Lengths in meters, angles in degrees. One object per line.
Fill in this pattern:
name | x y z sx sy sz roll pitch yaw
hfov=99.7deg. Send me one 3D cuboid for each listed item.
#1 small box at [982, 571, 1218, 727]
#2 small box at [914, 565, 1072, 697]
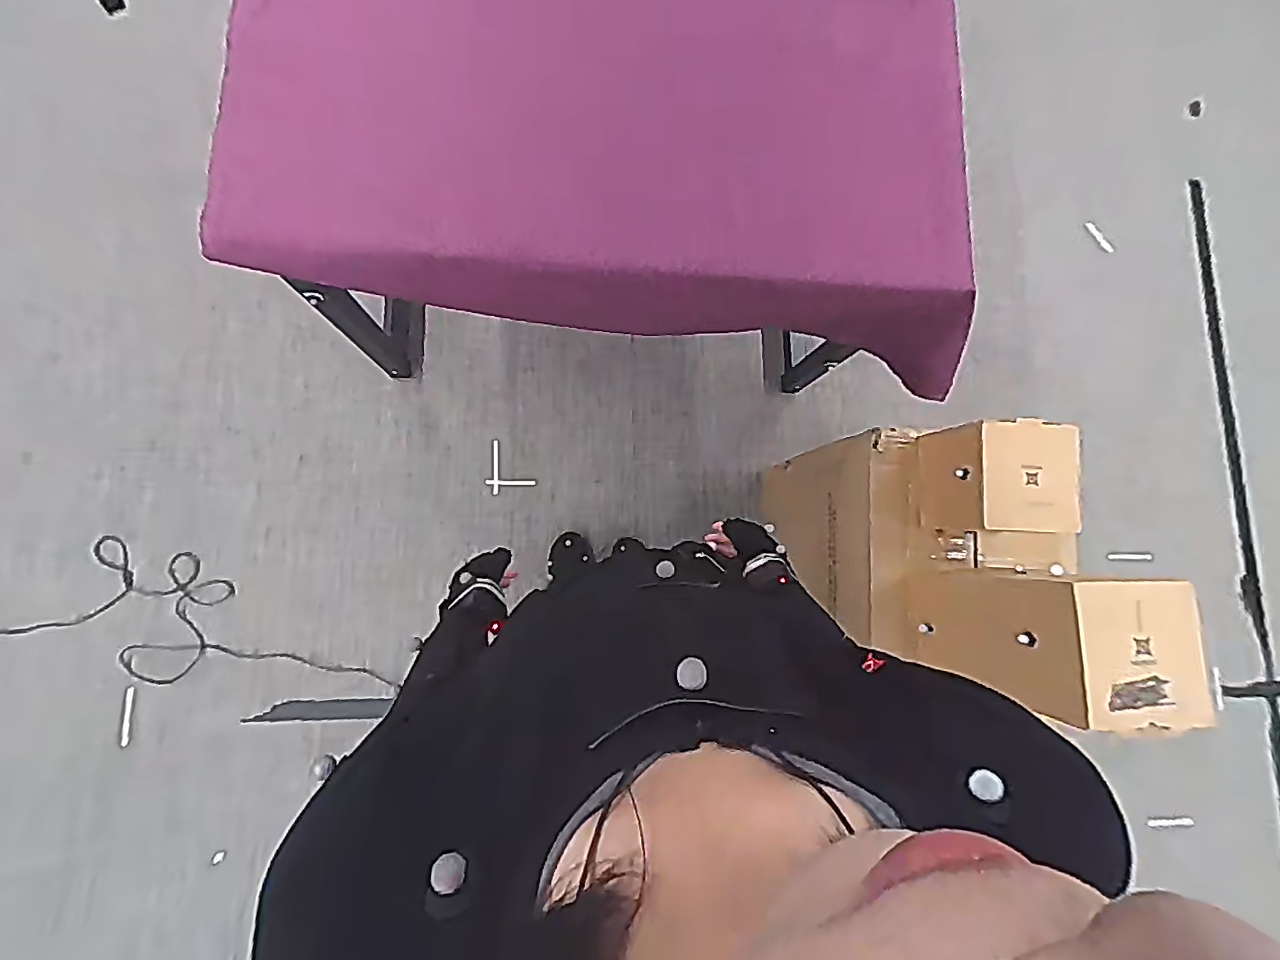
small box | 0.596 0.214 0.724 0.168 0.176 0.179 1 81 -6
small box | 0.581 0.237 0.888 0.168 0.176 0.179 -5 83 -7
